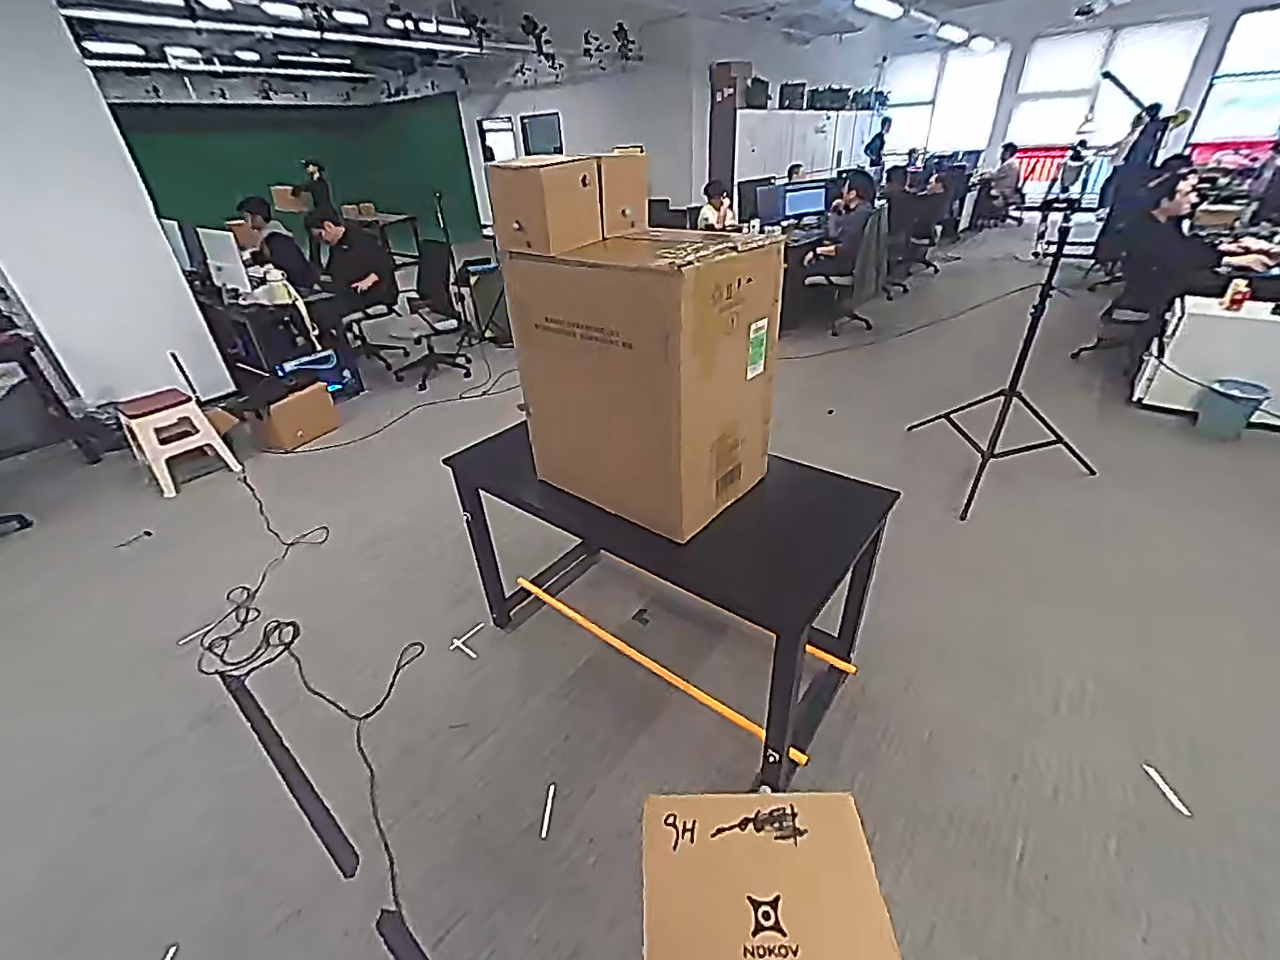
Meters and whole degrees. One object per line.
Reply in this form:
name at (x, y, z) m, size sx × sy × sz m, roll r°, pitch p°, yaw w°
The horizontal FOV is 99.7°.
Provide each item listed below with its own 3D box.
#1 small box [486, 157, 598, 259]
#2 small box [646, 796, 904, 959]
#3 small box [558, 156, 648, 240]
small box at (-0.204, -0.595, 1.175) m, size 0.168 × 0.176 × 0.179 m, roll 20°, pitch 42°, yaw 30°
small box at (0.091, 0.365, 0.402) m, size 0.168 × 0.176 × 0.179 m, roll -2°, pitch 37°, yaw 1°
small box at (-0.098, -0.678, 1.298) m, size 0.179 × 0.176 × 0.168 m, roll 23°, pitch 39°, yaw 33°
